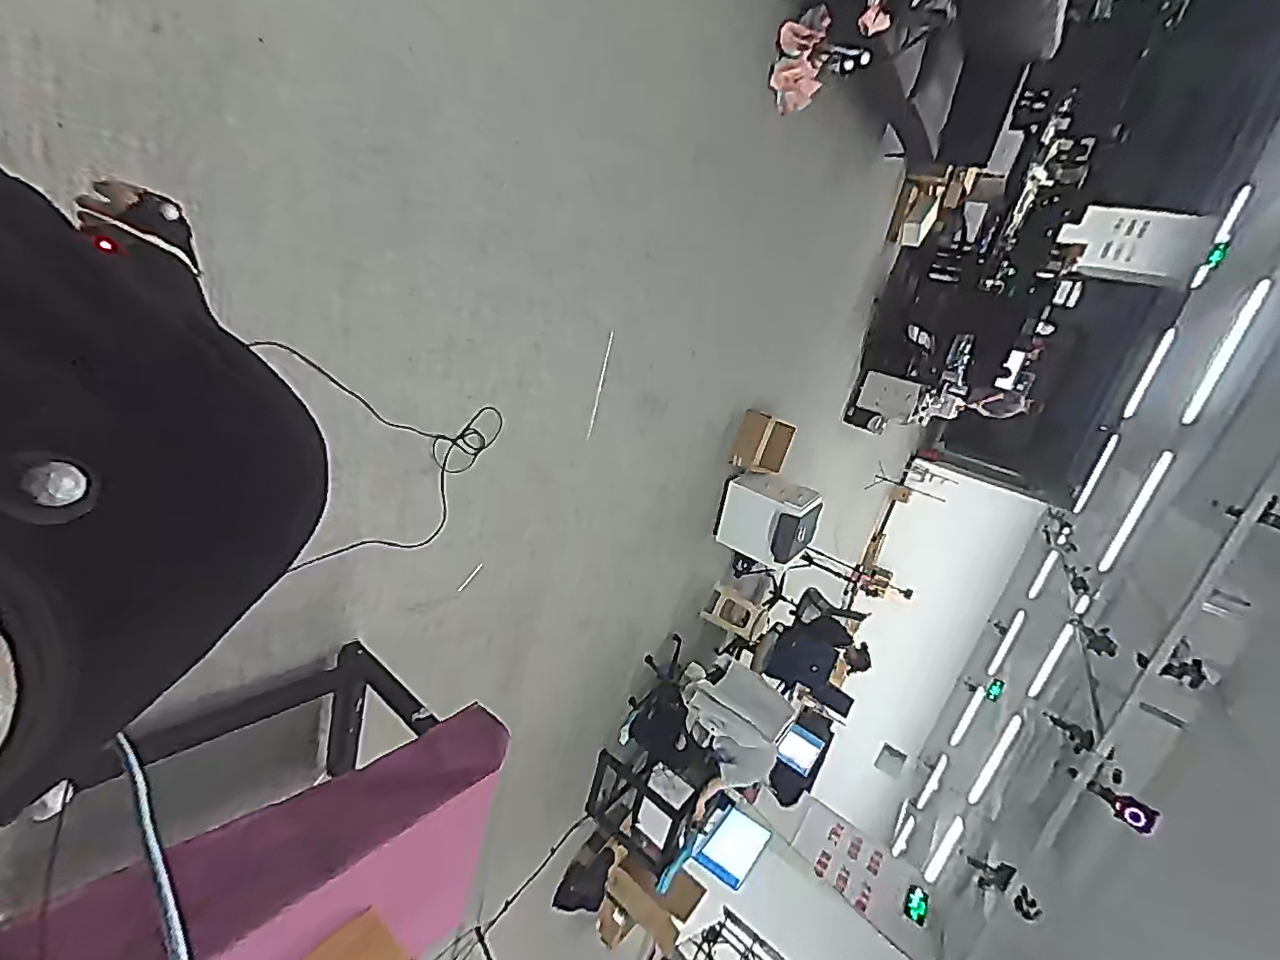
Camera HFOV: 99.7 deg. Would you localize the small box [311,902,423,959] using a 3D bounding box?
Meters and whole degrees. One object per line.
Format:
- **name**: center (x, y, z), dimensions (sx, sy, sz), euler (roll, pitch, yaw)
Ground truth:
- **small box**: center (-0.623, 1.121, 1.219), dimensions (0.179, 0.176, 0.168), euler (-11, 121, -52)
